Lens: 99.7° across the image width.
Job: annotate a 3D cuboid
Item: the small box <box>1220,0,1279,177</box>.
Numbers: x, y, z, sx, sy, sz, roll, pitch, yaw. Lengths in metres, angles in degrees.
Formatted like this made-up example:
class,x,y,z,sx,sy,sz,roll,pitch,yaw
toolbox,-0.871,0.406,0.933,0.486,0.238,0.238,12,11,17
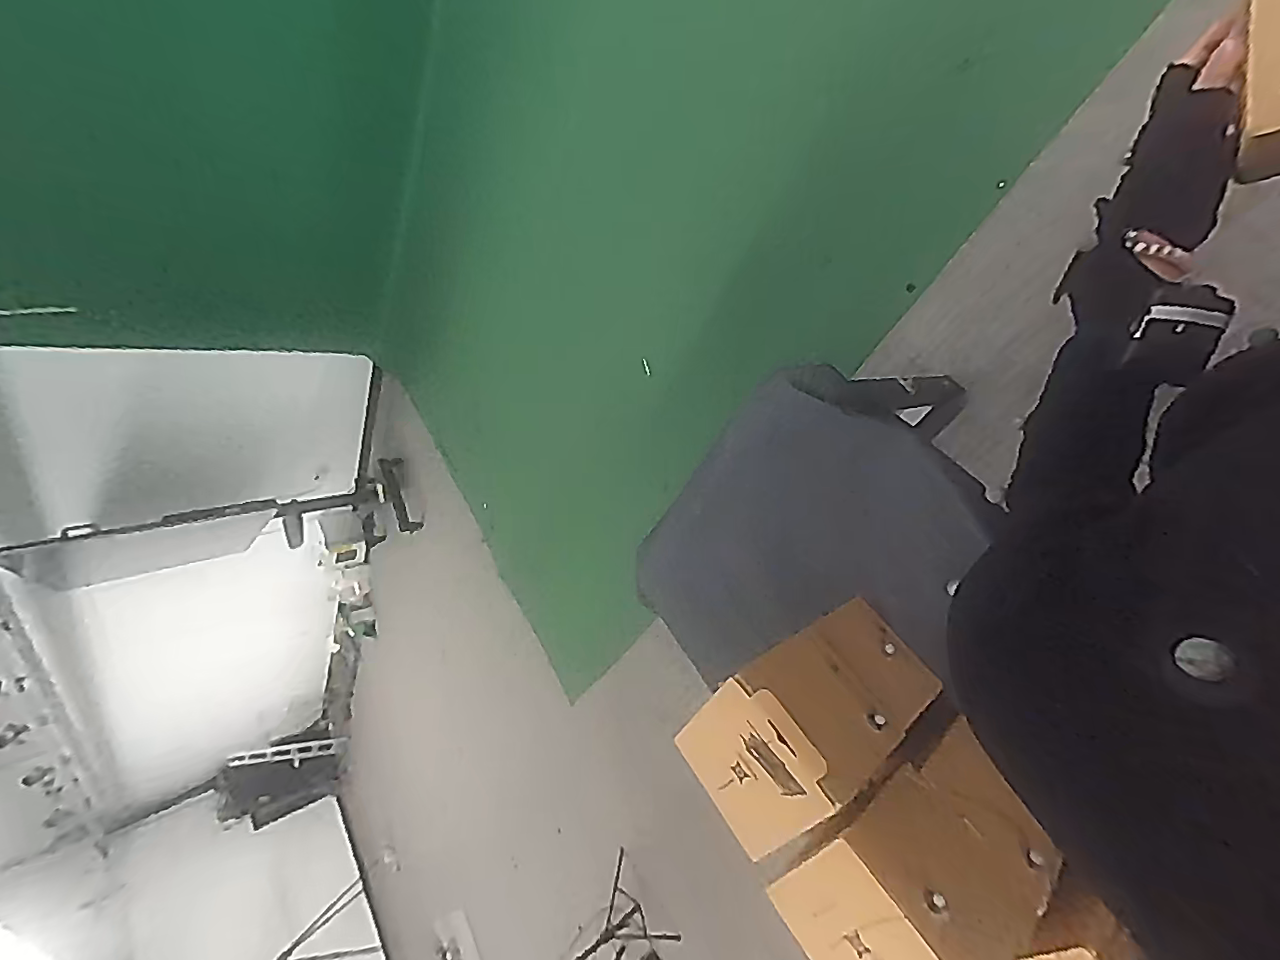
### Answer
class,x,y,z,sx,sy,sz,roll,pitch,yaw
small box,0.456,-0.294,0.297,0.179,0.176,0.168,3,103,45
